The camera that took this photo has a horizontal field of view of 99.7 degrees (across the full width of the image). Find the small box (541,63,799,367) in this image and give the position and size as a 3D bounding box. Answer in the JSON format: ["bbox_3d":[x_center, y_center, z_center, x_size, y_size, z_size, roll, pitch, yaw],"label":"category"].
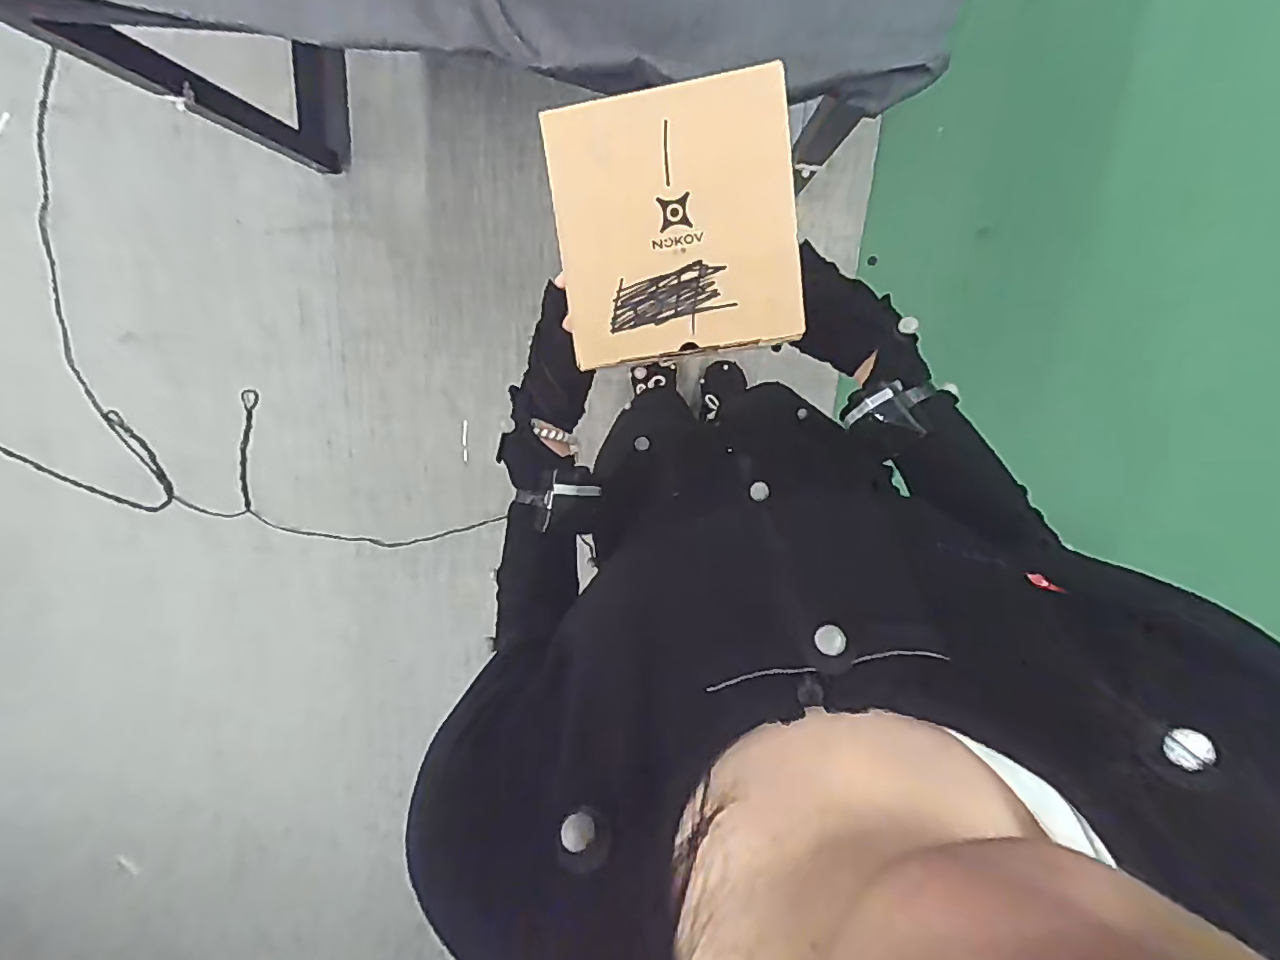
[{"bbox_3d":[0.031,-0.193,0.451,0.168,0.176,0.179,-6,101,7],"label":"small box"}]
